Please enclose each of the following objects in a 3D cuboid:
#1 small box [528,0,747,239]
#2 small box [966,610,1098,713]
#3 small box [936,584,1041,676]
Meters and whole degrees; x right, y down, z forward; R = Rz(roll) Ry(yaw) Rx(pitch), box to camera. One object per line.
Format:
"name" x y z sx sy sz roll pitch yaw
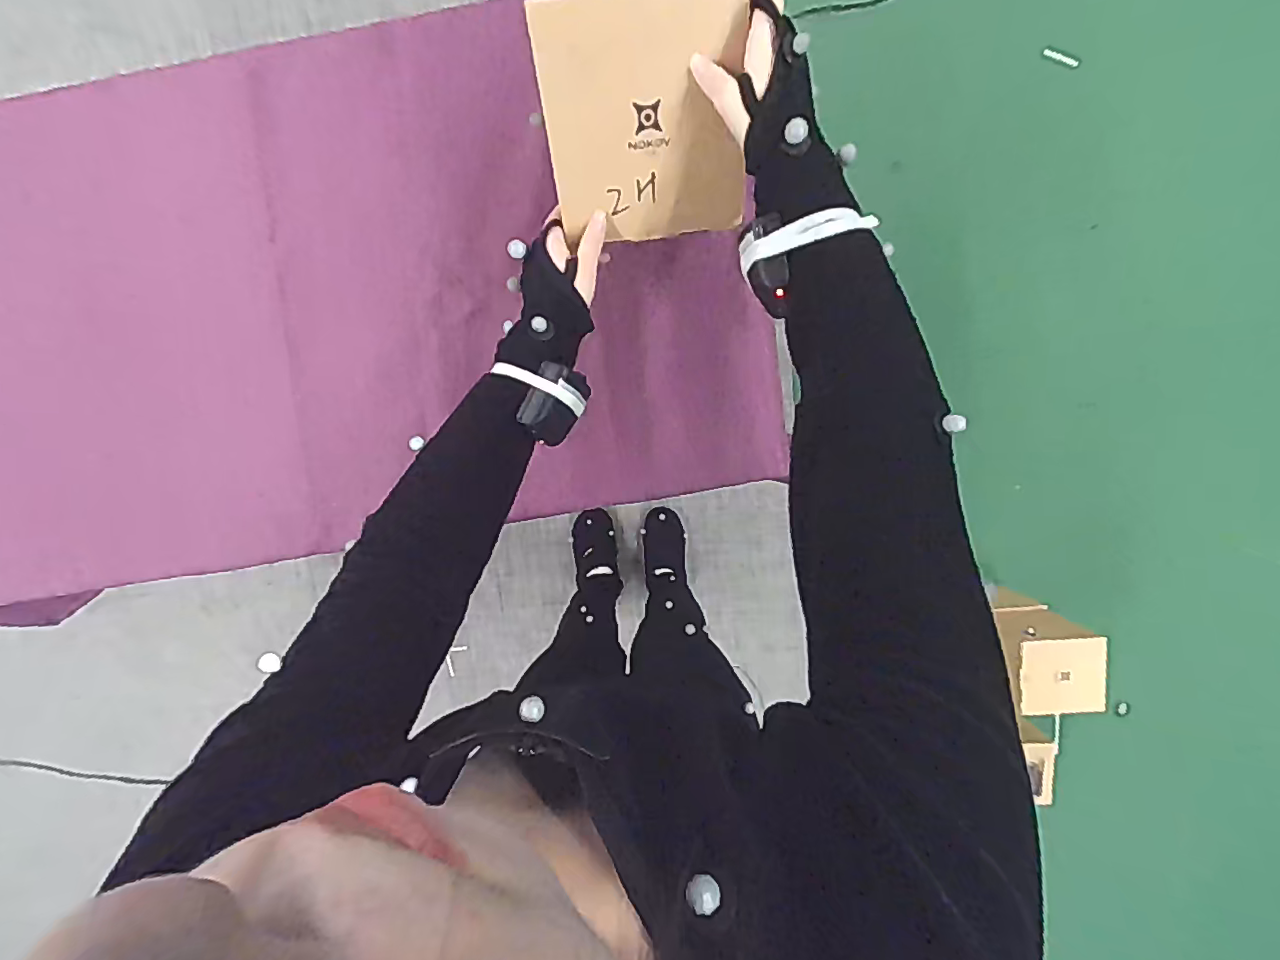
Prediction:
"small box" -0.003 -0.347 0.504 0.168 0.176 0.179 -6 131 0
"small box" 0.869 0.398 1.210 0.179 0.176 0.168 -4 97 2
"small box" 0.875 0.376 1.372 0.168 0.176 0.179 -4 96 2
